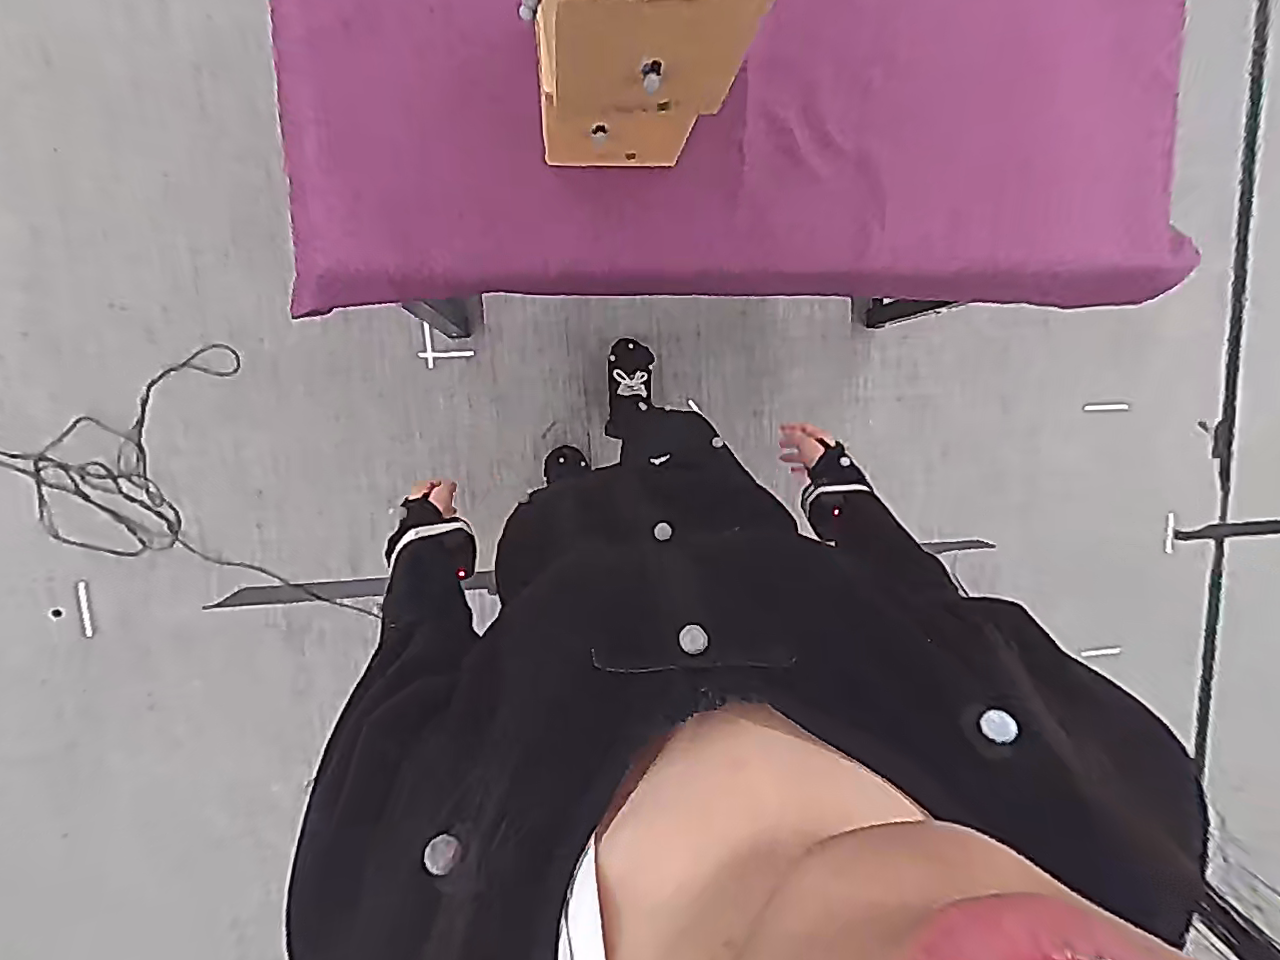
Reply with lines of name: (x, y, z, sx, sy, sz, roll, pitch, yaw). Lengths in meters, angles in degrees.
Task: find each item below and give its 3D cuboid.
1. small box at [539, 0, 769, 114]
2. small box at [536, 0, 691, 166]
small box: (-0.002, -0.435, 0.450, 0.168, 0.176, 0.179, -9, 99, -7)
small box: (-0.029, -0.477, 0.607, 0.168, 0.176, 0.179, -4, 97, -7)
